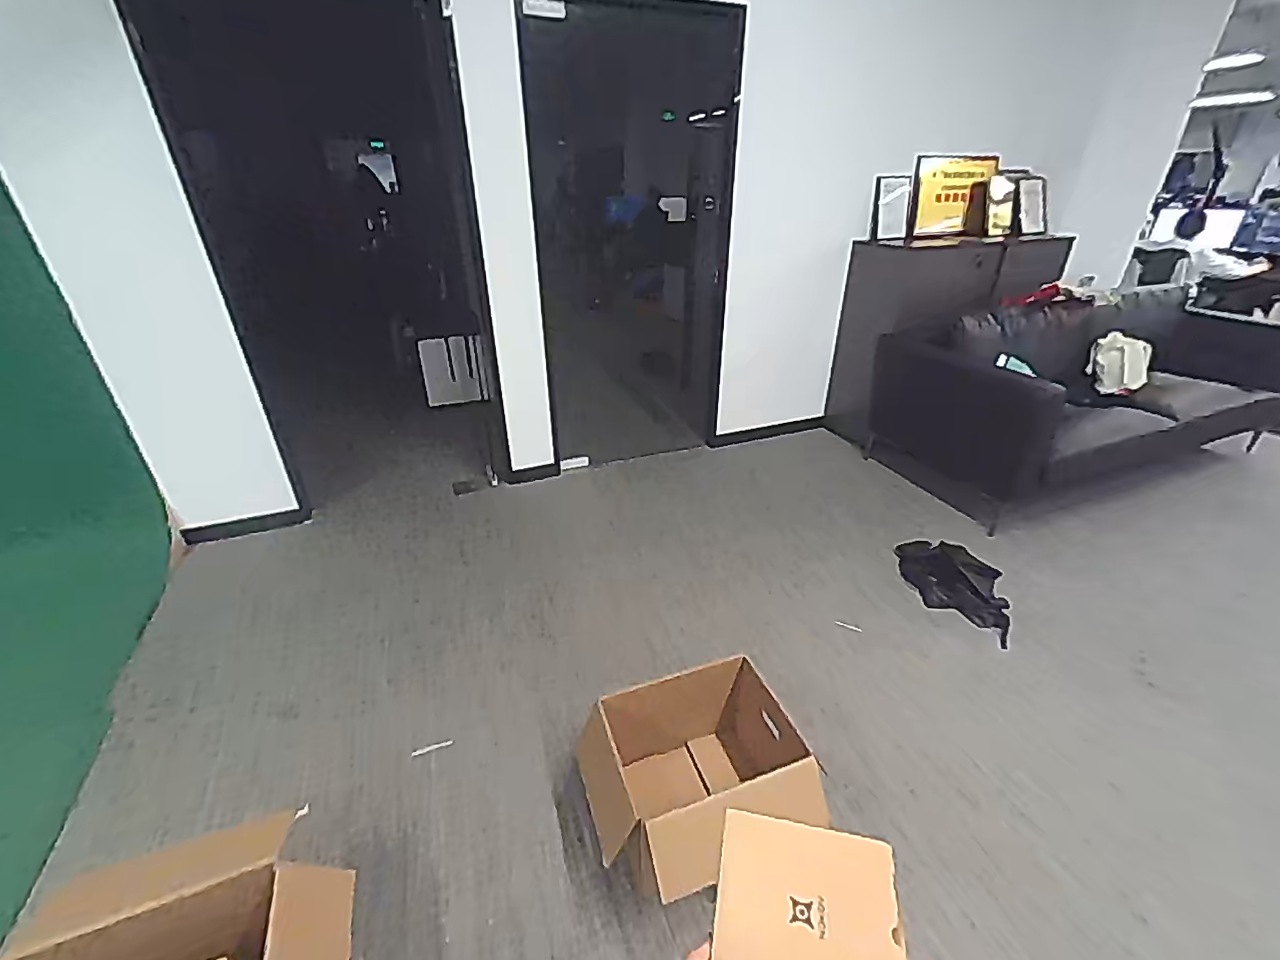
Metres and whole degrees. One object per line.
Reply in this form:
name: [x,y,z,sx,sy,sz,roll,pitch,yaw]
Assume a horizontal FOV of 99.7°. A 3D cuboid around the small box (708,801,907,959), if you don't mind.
small box: [0.167,0.479,0.568,0.179,0.176,0.168,5,35,13]
